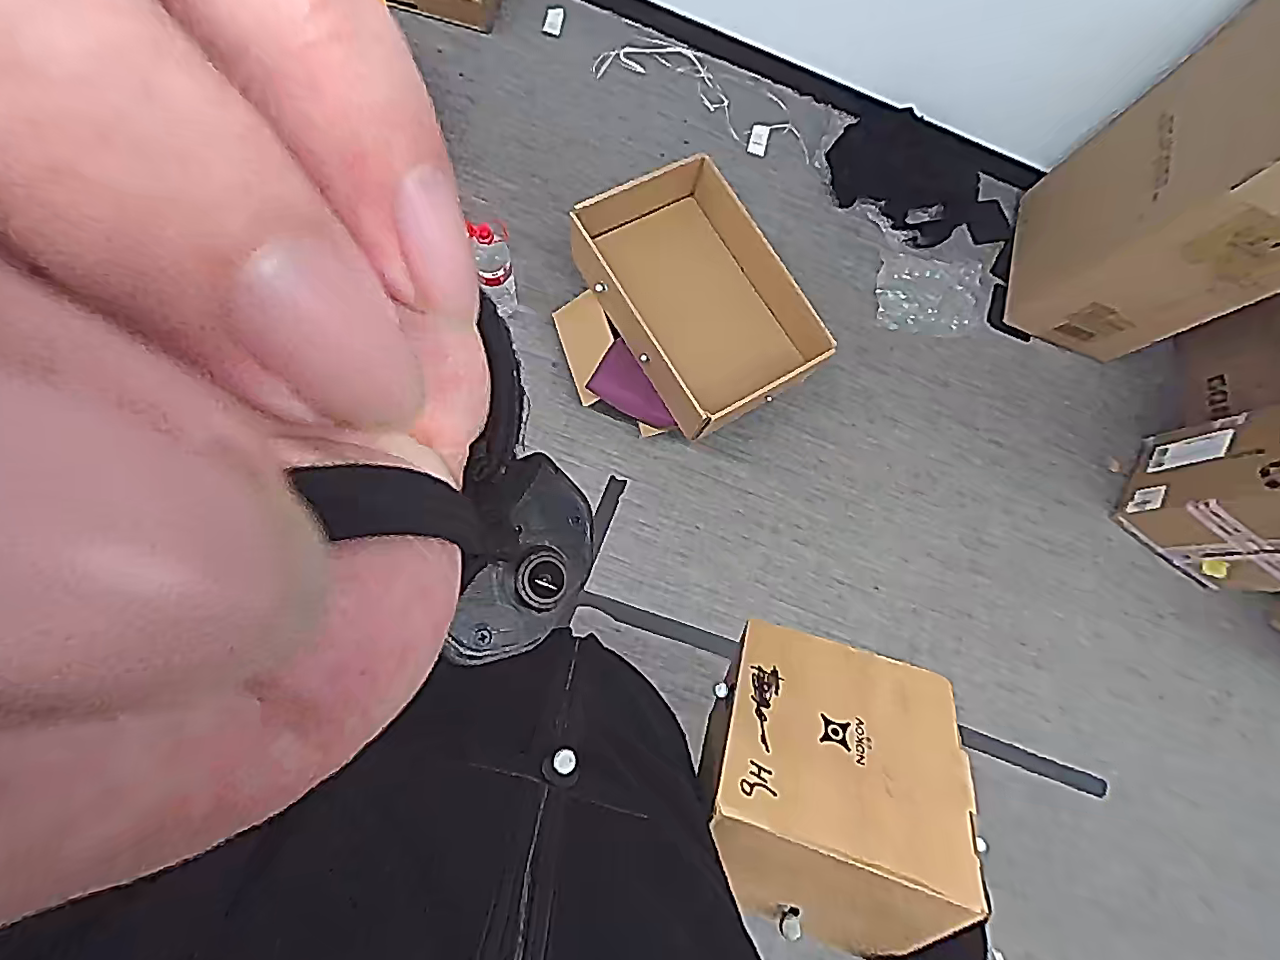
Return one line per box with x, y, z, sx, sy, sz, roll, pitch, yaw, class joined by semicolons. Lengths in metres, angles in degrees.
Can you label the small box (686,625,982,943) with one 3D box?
0.152;0.263;0.469;0.179;0.176;0.168;16;40;9;small box
